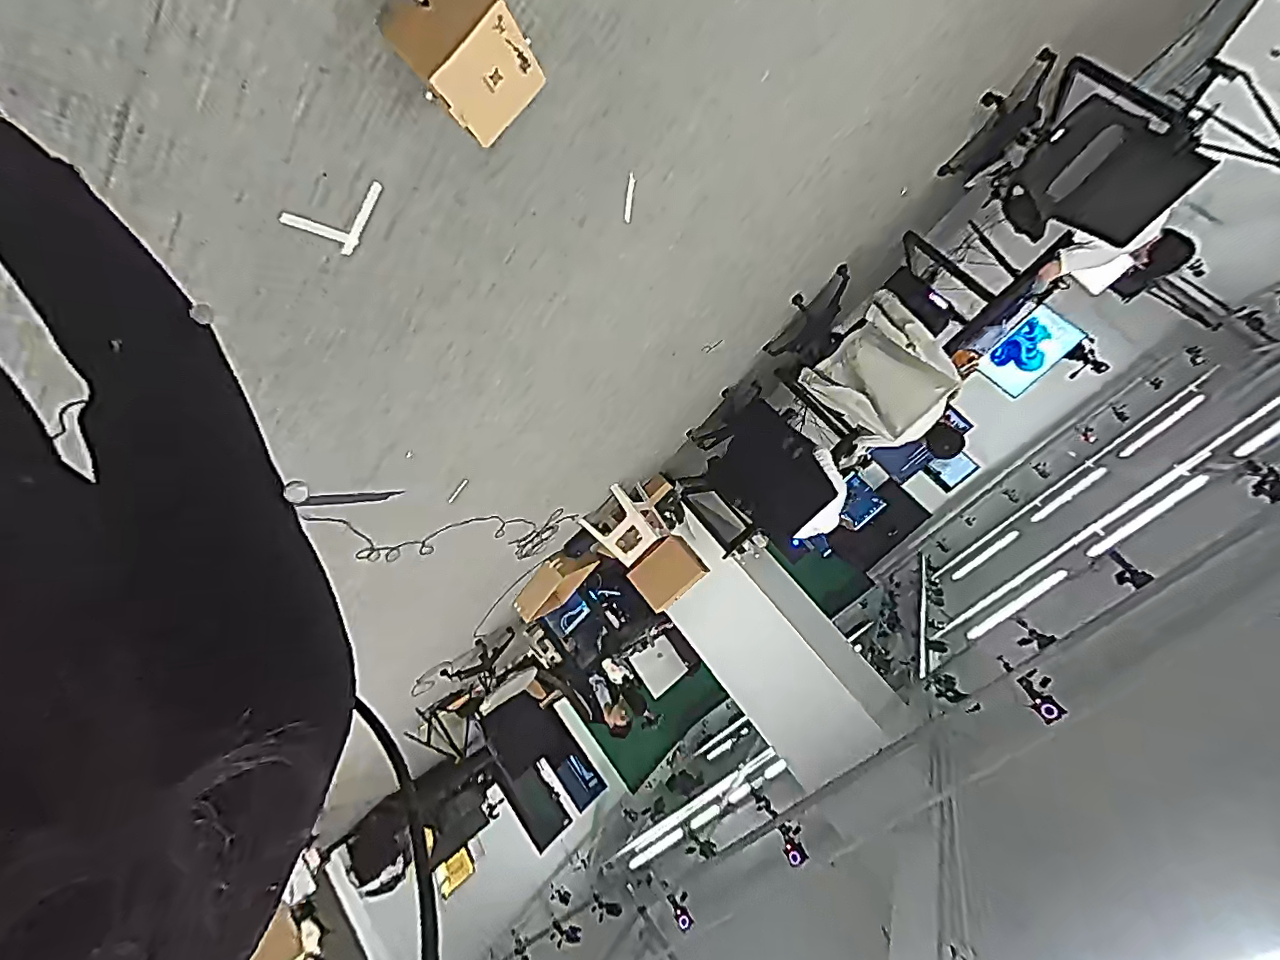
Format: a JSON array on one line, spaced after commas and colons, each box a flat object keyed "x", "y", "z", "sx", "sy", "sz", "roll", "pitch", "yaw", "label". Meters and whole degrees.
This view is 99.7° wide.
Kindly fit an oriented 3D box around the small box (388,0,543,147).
[{"x": -0.314, "y": -0.759, "z": 0.964, "sx": 0.179, "sy": 0.176, "sz": 0.168, "roll": -42, "pitch": 164, "yaw": 7, "label": "small box"}]
